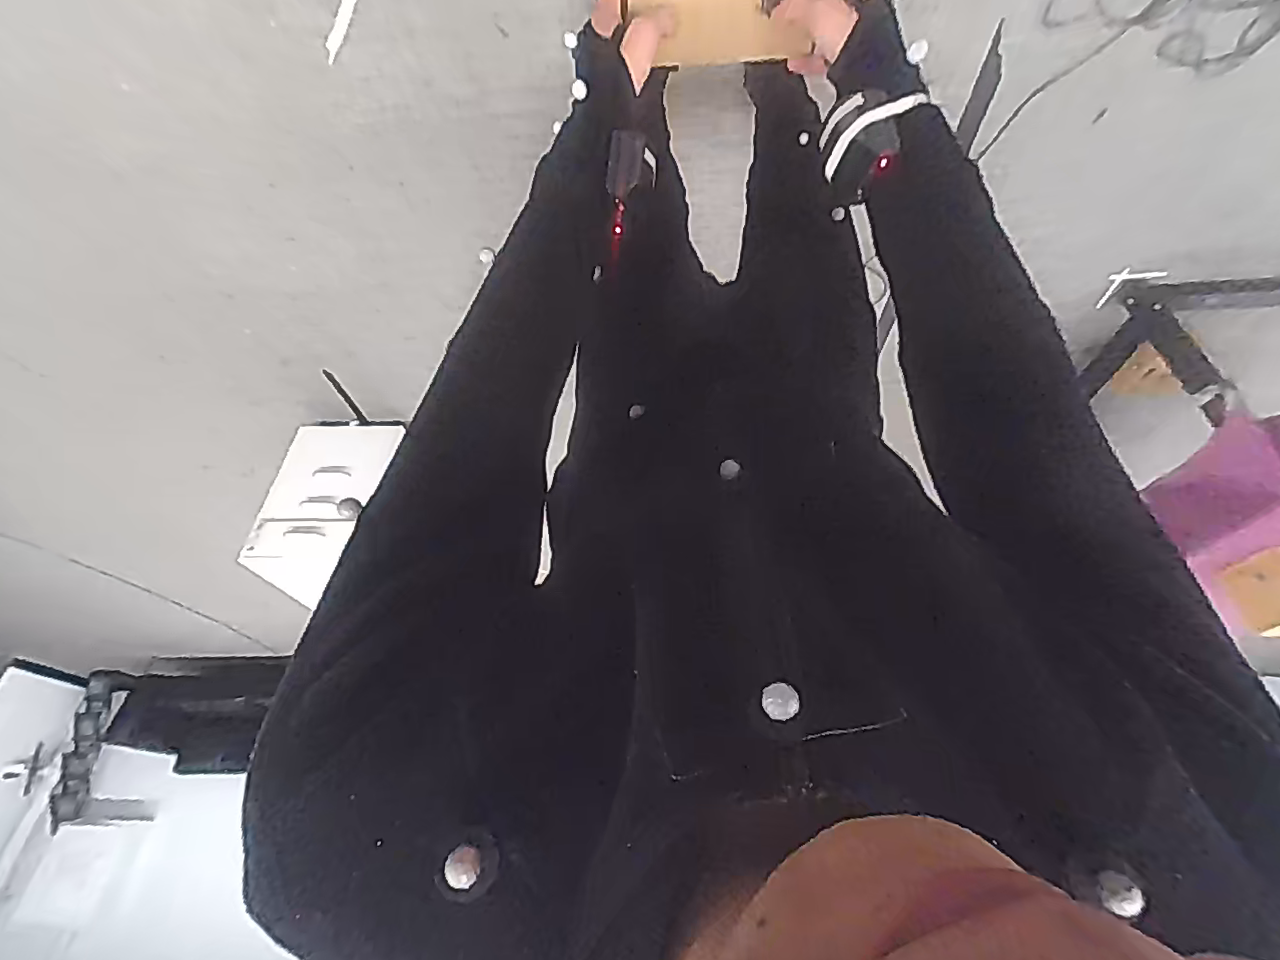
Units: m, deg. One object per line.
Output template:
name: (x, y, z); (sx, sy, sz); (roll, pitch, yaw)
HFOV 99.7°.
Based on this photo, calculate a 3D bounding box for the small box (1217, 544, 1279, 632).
small box: (1.587, 0.258, 1.305); (0.179, 0.176, 0.168); (-1, 146, 4)

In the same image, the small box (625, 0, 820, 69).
small box: (0.071, -0.513, 0.495); (0.179, 0.176, 0.168); (-2, 147, 2)
